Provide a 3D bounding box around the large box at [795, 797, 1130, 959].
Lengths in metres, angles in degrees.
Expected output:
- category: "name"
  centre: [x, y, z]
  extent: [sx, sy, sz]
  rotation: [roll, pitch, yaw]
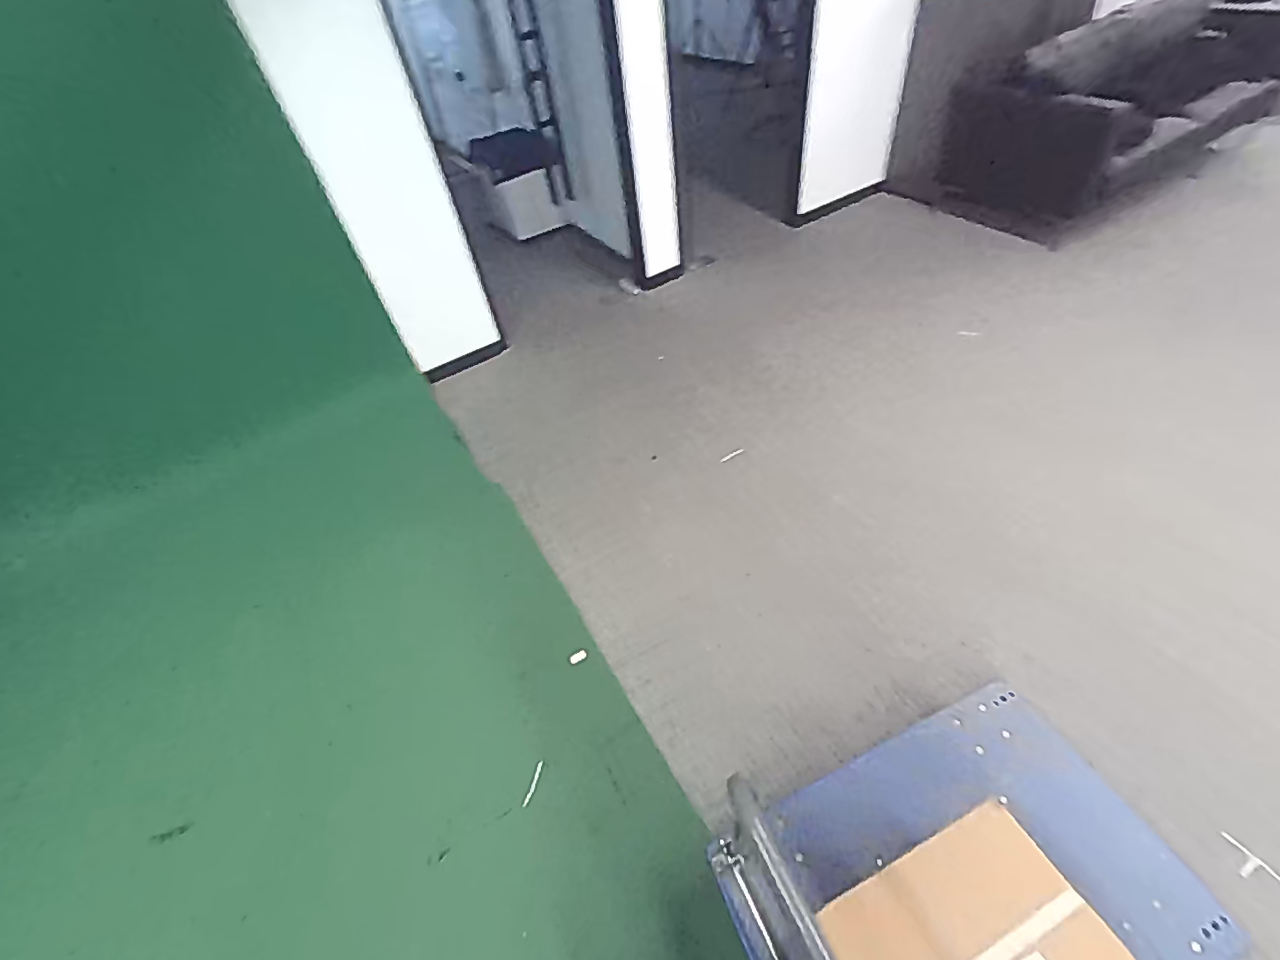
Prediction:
- category: "large box"
  centre: [0.531, 0.837, 0.927]
  extent: [0.408, 0.320, 0.320]
  rotation: [-22, 48, -13]
